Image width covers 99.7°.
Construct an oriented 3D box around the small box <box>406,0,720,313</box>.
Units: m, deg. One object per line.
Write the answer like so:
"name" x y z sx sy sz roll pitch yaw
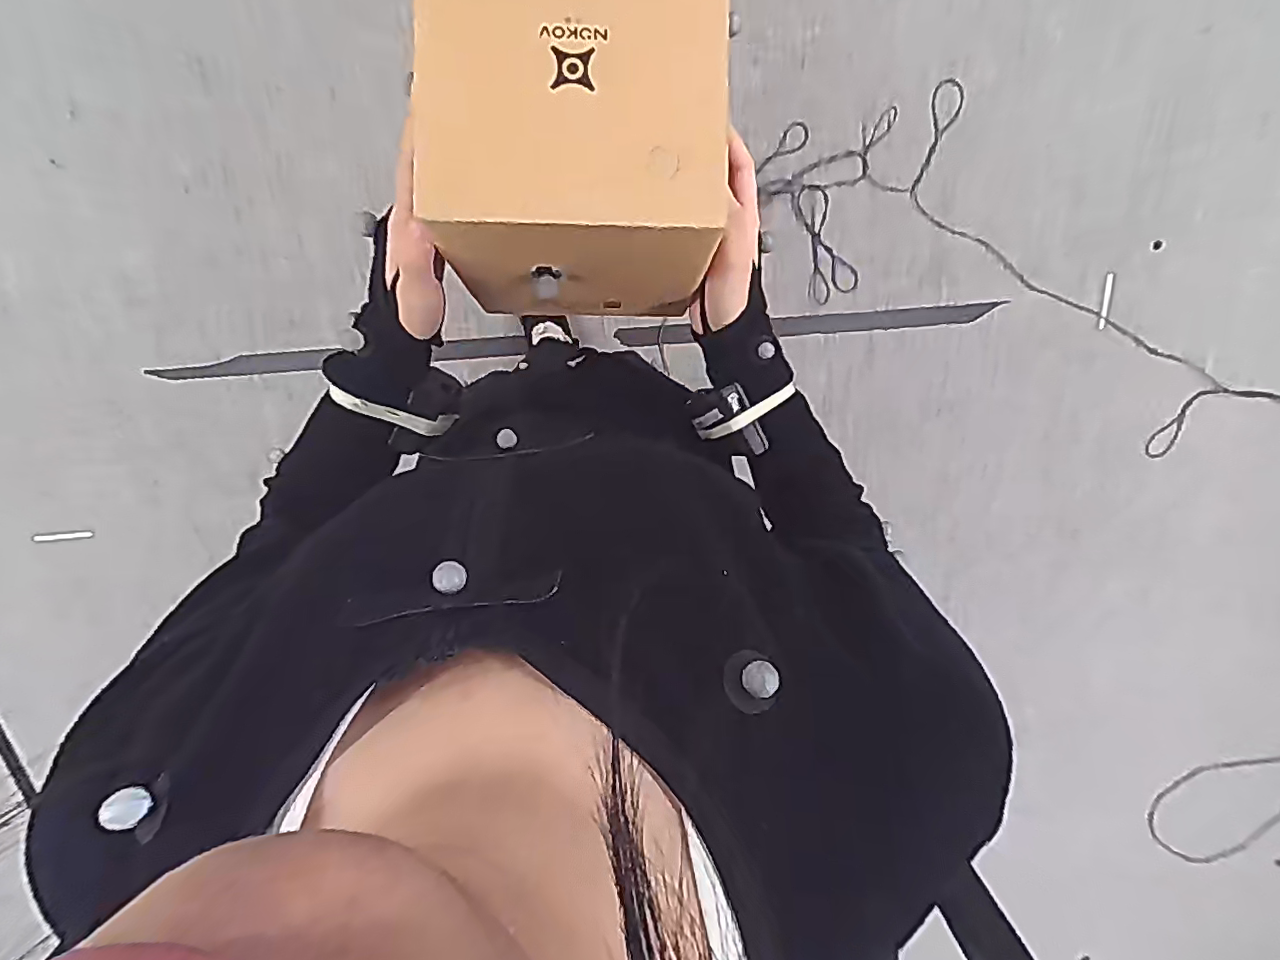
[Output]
"small box" -0.042 -0.220 0.363 0.168 0.176 0.179 -1 89 -3
